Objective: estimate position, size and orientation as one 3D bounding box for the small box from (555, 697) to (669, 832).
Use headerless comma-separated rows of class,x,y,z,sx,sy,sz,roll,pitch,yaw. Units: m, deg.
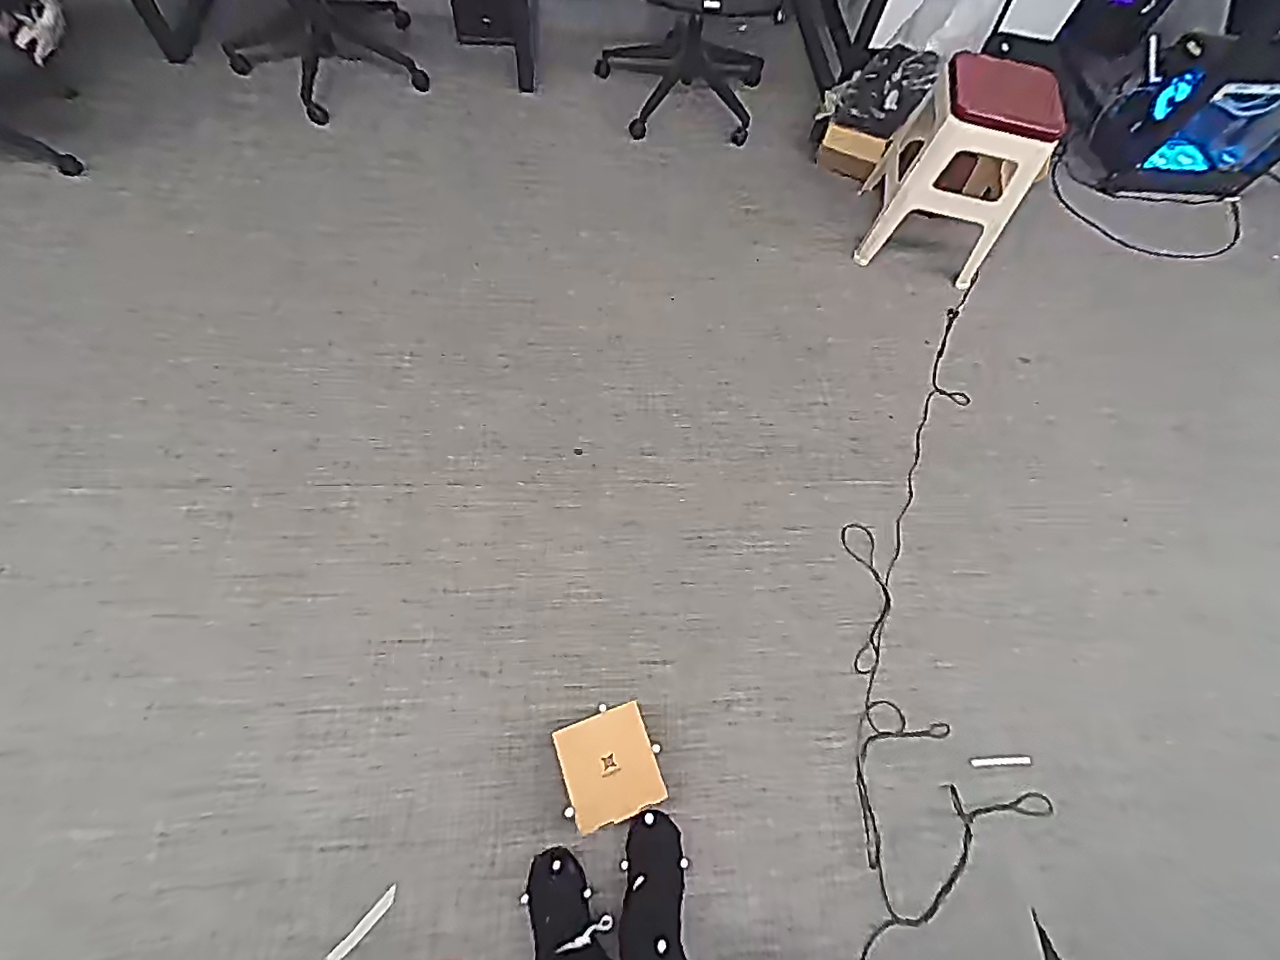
small box,-0.061,0.537,1.039,0.168,0.176,0.179,-17,69,-14
